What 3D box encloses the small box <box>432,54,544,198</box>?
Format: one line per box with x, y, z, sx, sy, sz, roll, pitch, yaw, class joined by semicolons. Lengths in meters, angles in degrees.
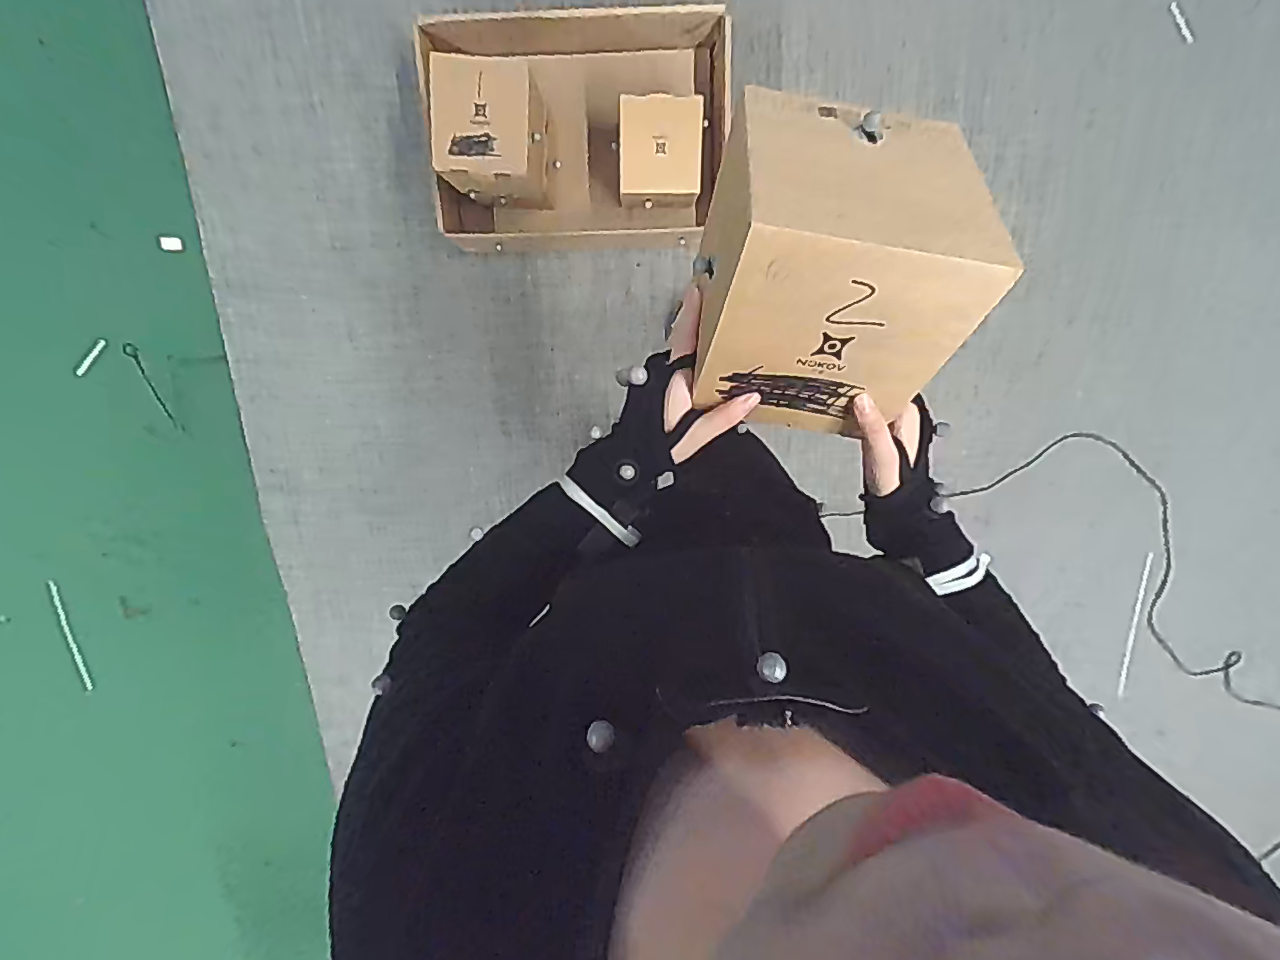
-0.270;-0.634;0.992;0.168;0.176;0.179;4;105;-3;small box
